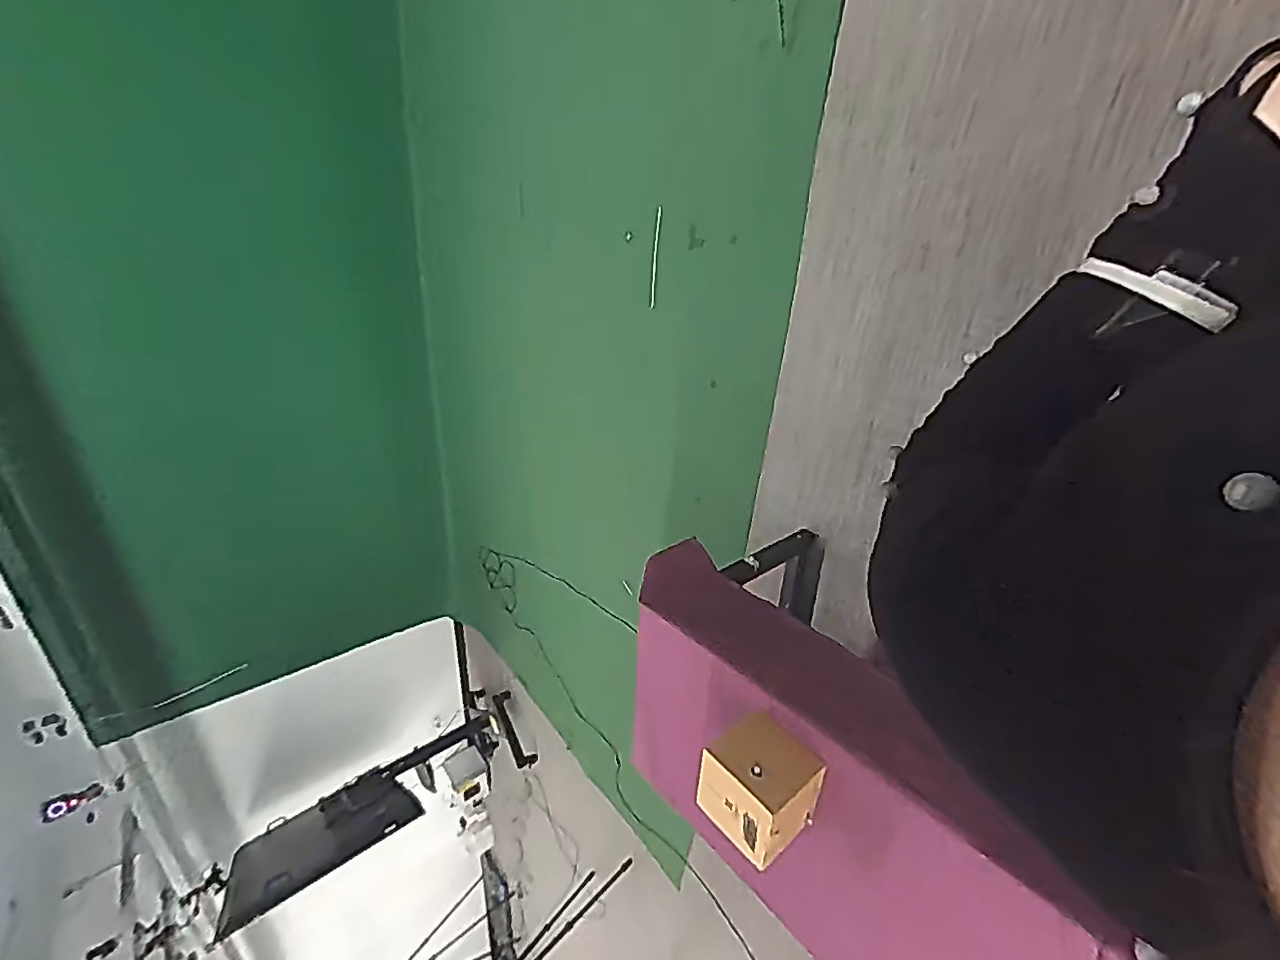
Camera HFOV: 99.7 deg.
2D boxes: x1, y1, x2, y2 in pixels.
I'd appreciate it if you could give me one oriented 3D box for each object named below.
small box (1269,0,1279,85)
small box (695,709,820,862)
[{"bbox_3d":[0.453,-0.324,0.264,0.179,0.176,0.168,7,117,50],"label":"small box"},{"bbox_3d":[0.237,0.605,1.096,0.179,0.176,0.168,29,125,43],"label":"small box"}]
